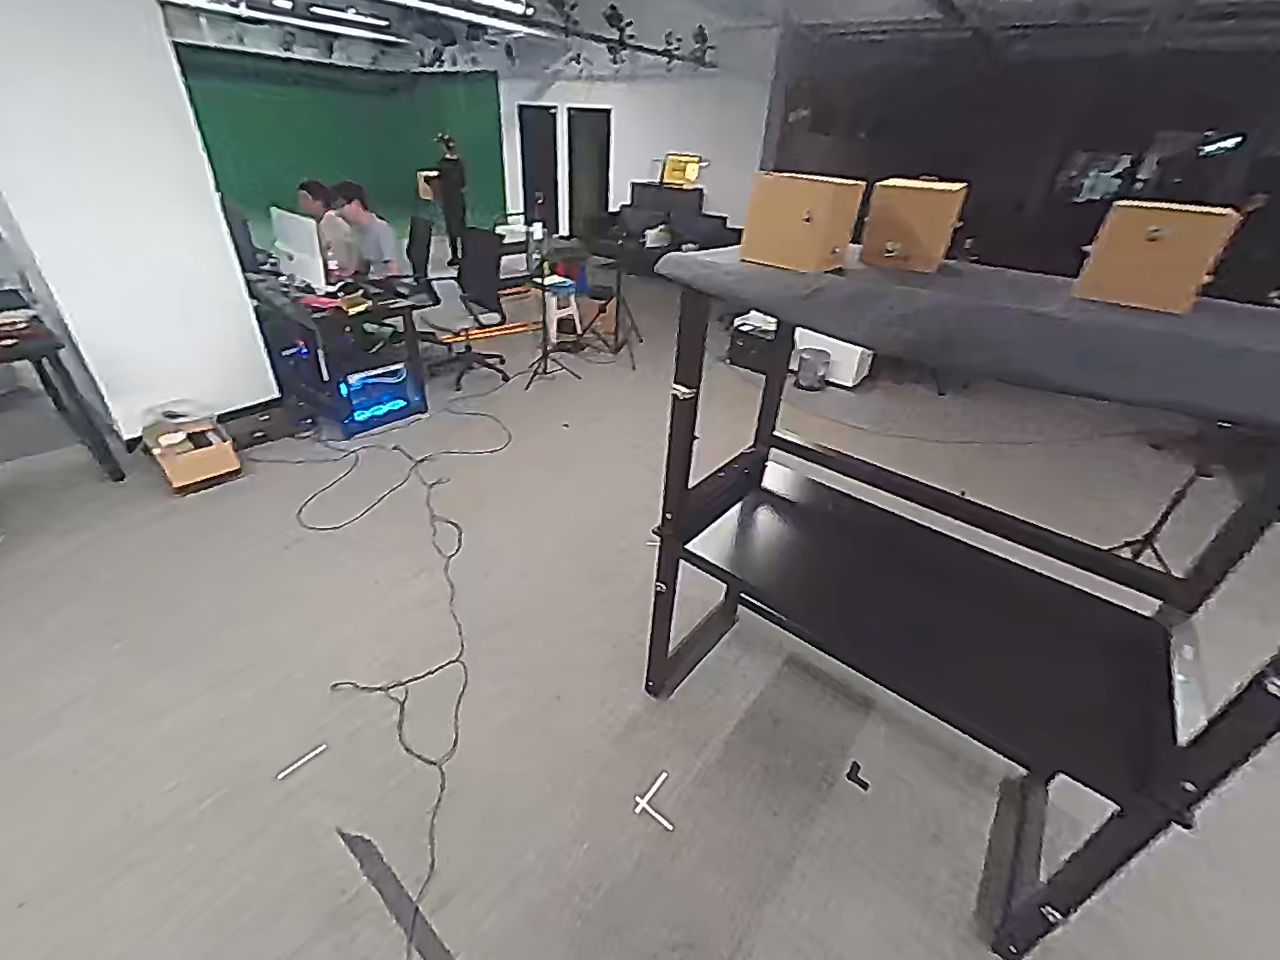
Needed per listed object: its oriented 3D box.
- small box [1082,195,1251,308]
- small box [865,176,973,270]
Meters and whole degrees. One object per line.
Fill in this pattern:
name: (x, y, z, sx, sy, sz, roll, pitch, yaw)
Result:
small box: (0.979, -0.434, 1.022, 0.179, 0.176, 0.168, 26, 40, 31)
small box: (0.631, -0.589, 1.230, 0.168, 0.176, 0.179, 21, 36, 26)
